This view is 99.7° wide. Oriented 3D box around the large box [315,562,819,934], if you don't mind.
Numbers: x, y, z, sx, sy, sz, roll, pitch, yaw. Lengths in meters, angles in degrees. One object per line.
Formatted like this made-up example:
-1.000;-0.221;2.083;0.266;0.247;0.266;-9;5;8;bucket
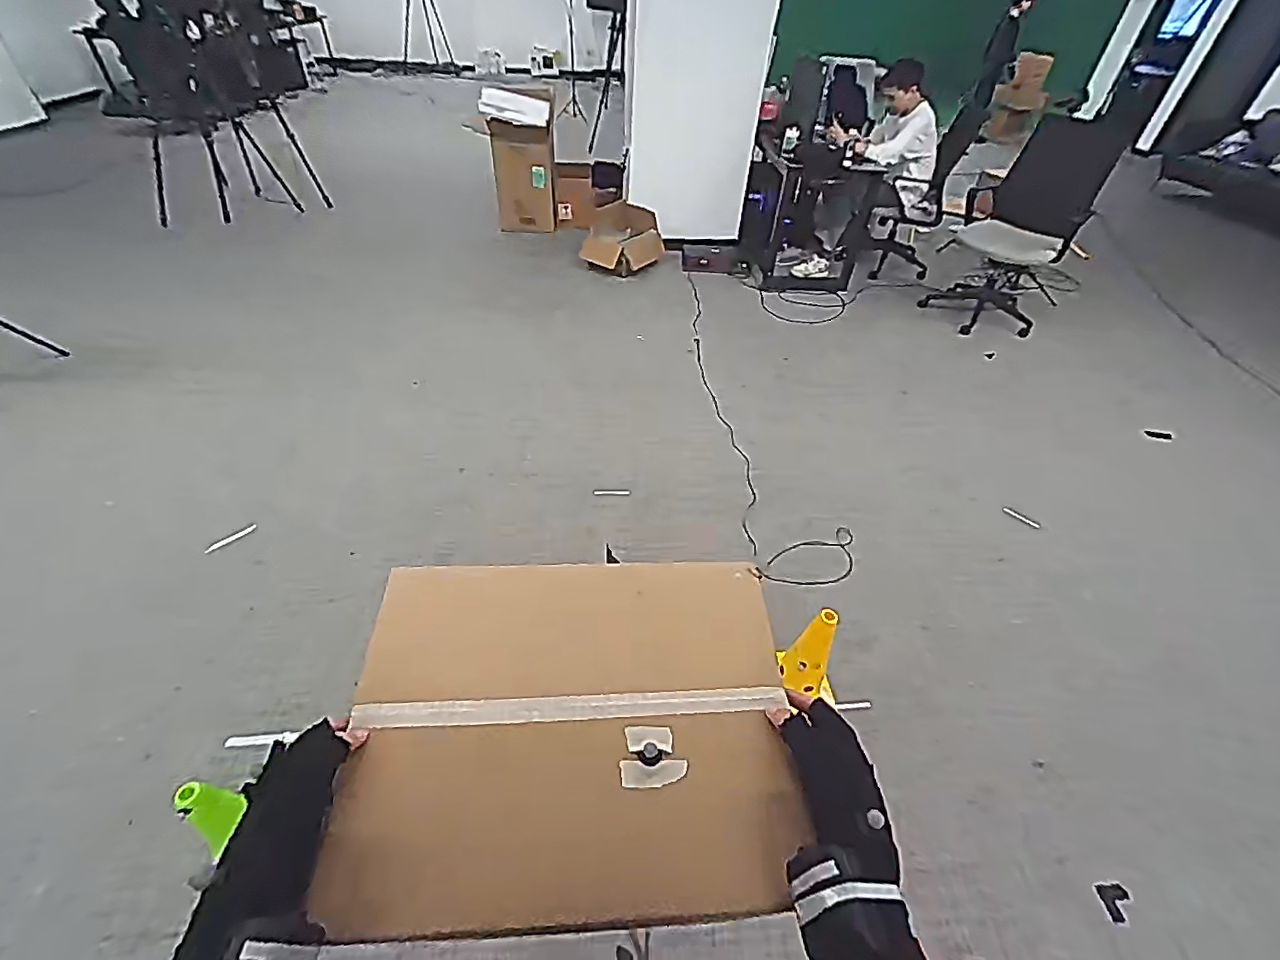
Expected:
-0.069;0.310;0.629;0.408;0.320;0.320;1;50;-5;large box
